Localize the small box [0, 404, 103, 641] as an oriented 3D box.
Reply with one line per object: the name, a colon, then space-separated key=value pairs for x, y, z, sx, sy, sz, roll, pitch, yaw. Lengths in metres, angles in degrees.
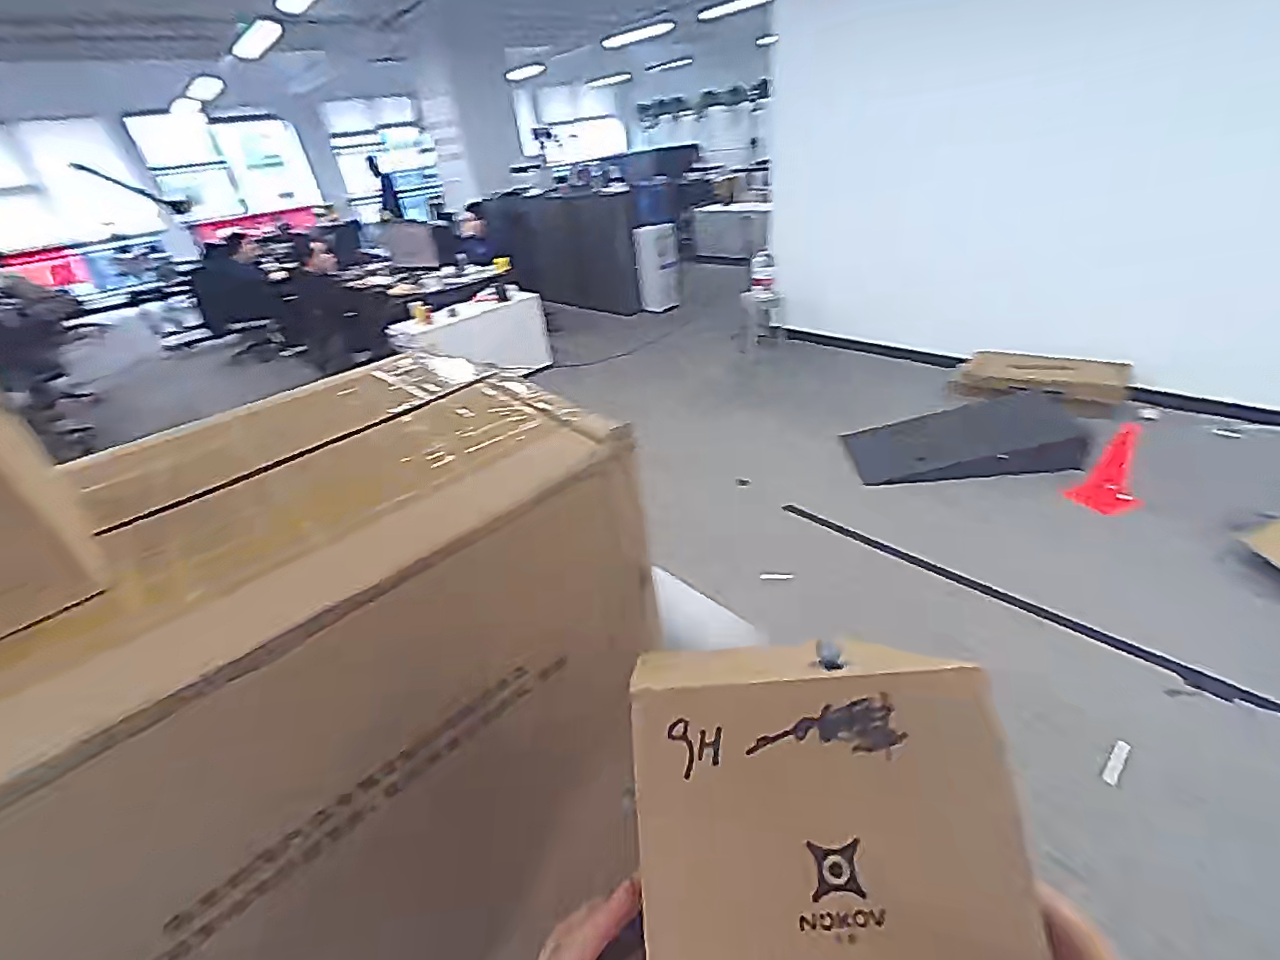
small box: x=-0.441 y=0.010 z=0.282 sx=0.179 sy=0.176 sz=0.168 roll=22 pitch=43 yaw=36
